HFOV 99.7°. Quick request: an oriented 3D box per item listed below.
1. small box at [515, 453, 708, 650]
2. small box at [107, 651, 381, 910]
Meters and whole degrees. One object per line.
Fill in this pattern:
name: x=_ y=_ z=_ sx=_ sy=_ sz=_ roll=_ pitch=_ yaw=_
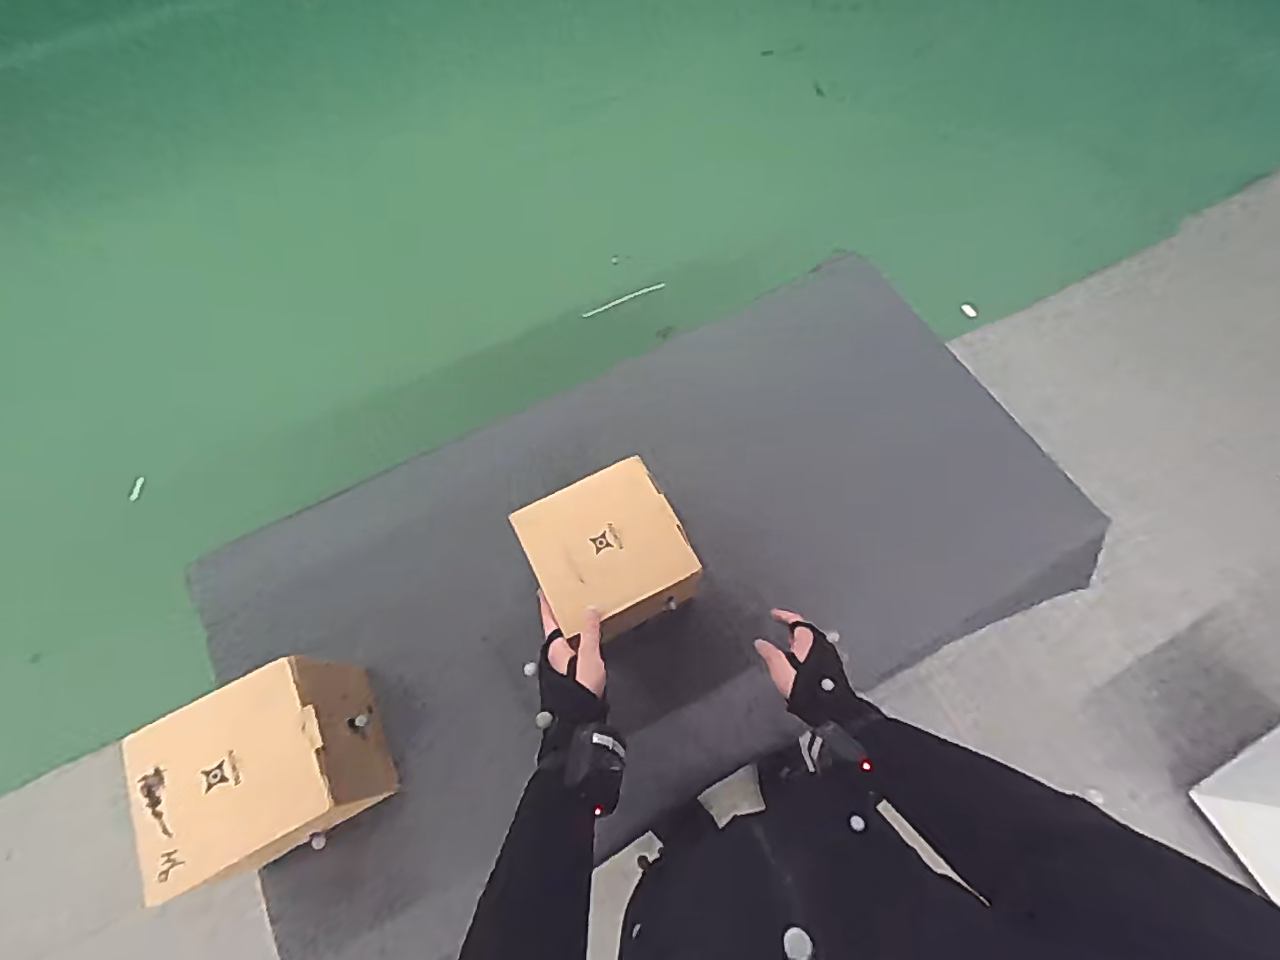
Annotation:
small box: x=-0.036 y=0.097 z=0.689 sx=0.179 sy=0.176 sz=0.168 roll=-26 pitch=68 yaw=-10
small box: x=-0.408 y=0.308 z=0.589 sx=0.179 sy=0.176 sz=0.168 roll=-25 pitch=69 yaw=-13
